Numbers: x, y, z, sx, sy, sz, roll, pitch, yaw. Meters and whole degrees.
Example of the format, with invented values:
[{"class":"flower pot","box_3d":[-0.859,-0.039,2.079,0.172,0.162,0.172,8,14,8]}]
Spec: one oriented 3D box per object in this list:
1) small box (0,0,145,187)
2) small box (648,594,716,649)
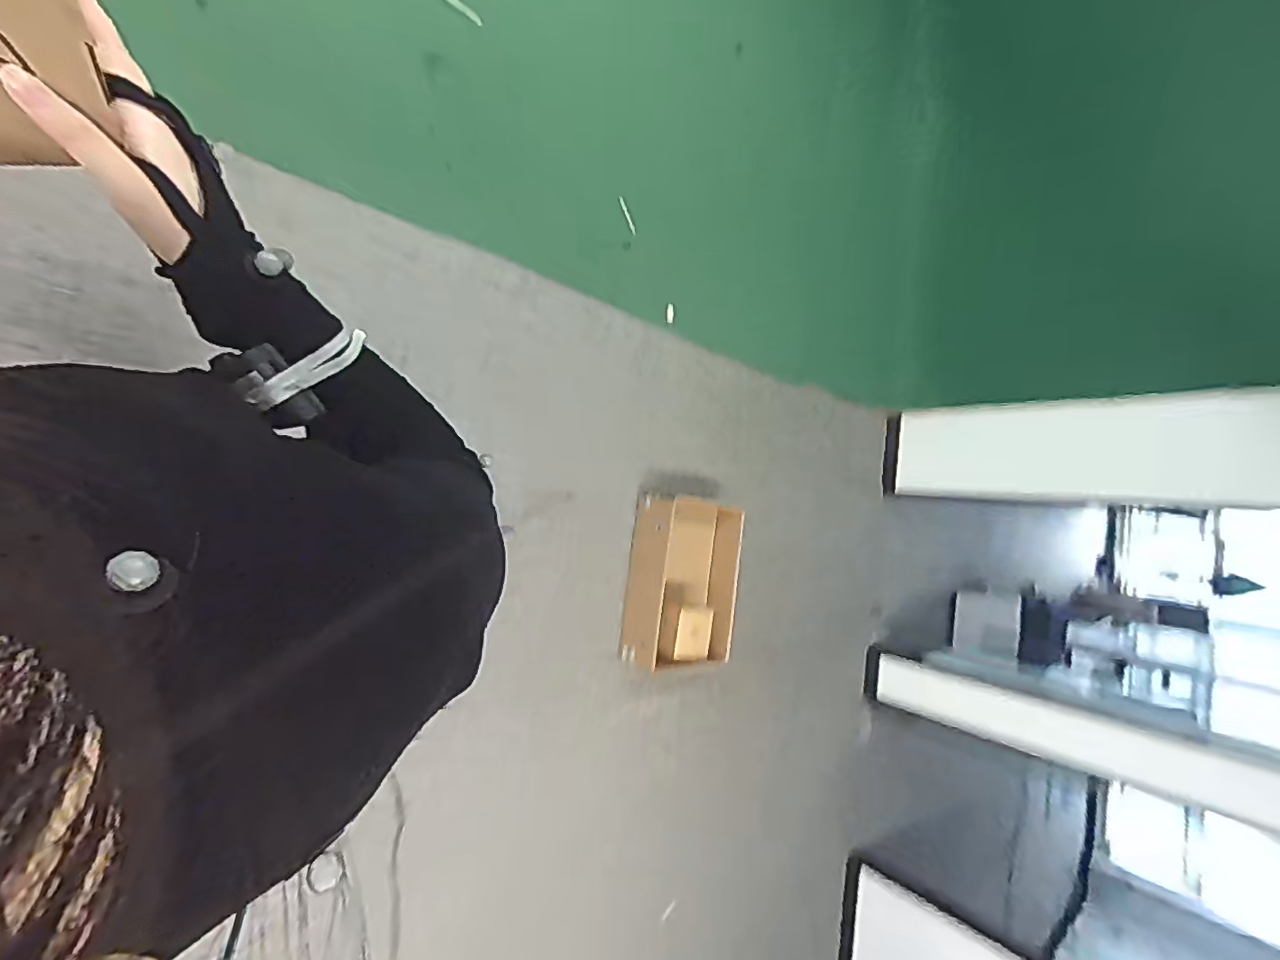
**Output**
[{"class":"small box","box_3d":[-0.356,-0.252,0.220,0.179,0.168,0.176,-21,72,-35]},{"class":"small box","box_3d":[0.152,0.519,1.994,0.179,0.176,0.168,12,85,-40]}]
